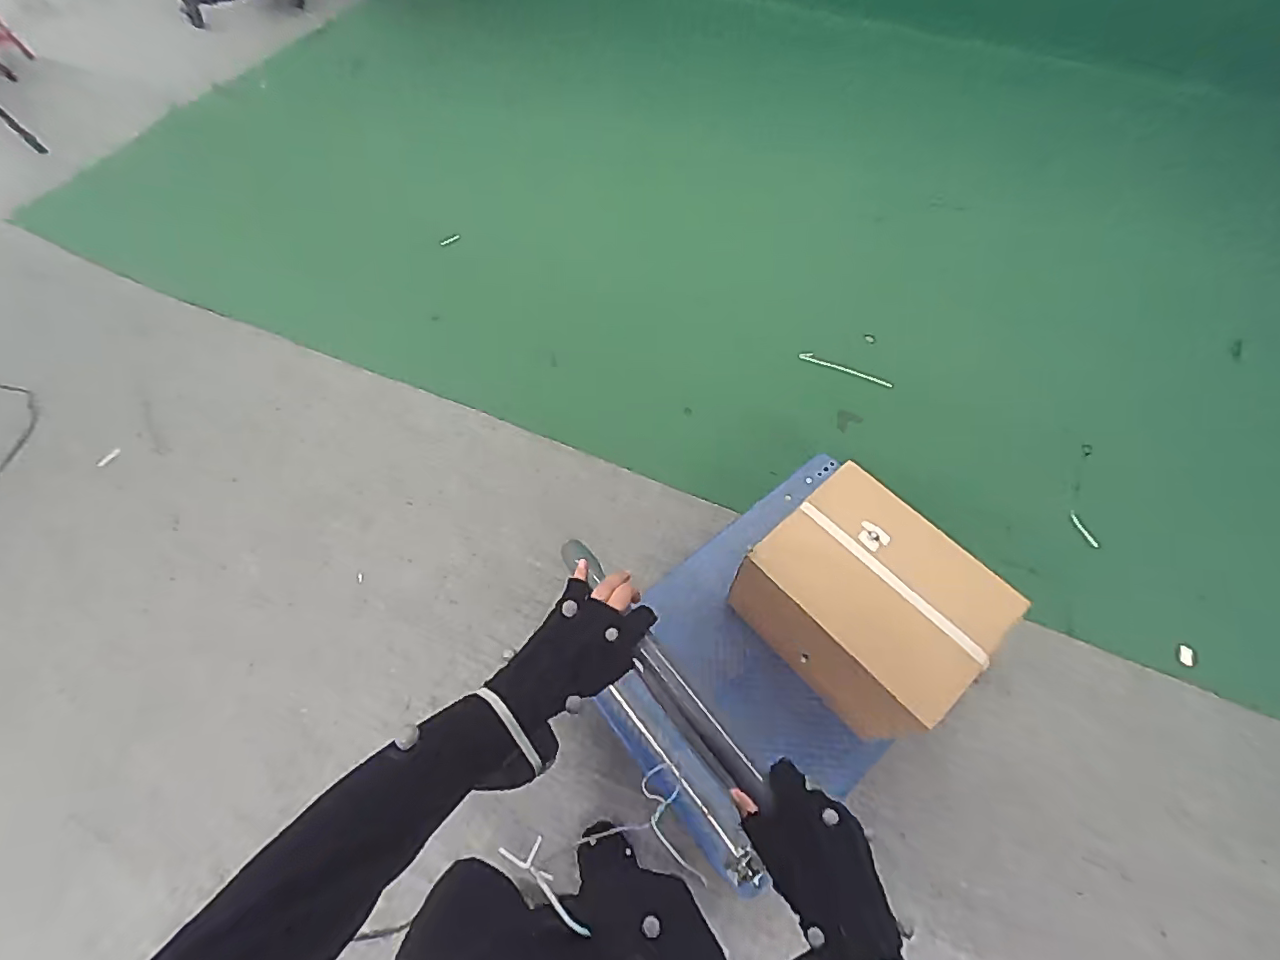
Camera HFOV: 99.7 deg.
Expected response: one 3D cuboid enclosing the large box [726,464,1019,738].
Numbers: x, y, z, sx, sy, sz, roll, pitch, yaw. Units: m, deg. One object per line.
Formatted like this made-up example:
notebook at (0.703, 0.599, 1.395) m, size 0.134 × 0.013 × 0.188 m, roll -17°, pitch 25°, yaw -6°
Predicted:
large box at (0.436, 0.253, 1.113) m, size 0.320 × 0.320 × 0.408 m, roll -37°, pitch 66°, yaw -18°
